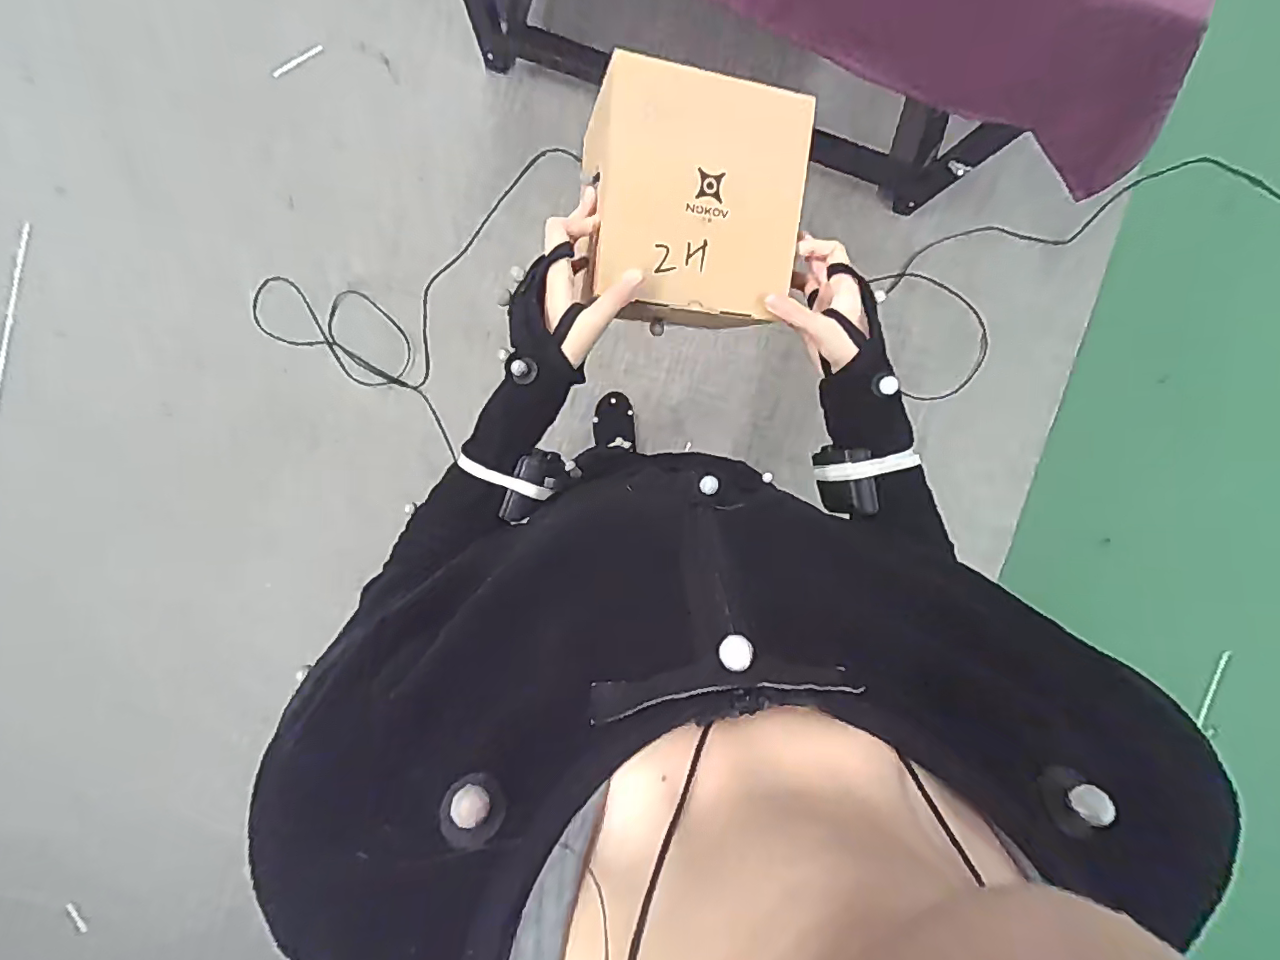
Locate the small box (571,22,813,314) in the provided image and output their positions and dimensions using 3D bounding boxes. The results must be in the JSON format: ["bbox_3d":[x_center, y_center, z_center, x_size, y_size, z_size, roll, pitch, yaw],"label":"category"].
[{"bbox_3d":[0.031,-0.257,0.497,0.168,0.176,0.179,3,103,-14],"label":"small box"}]
